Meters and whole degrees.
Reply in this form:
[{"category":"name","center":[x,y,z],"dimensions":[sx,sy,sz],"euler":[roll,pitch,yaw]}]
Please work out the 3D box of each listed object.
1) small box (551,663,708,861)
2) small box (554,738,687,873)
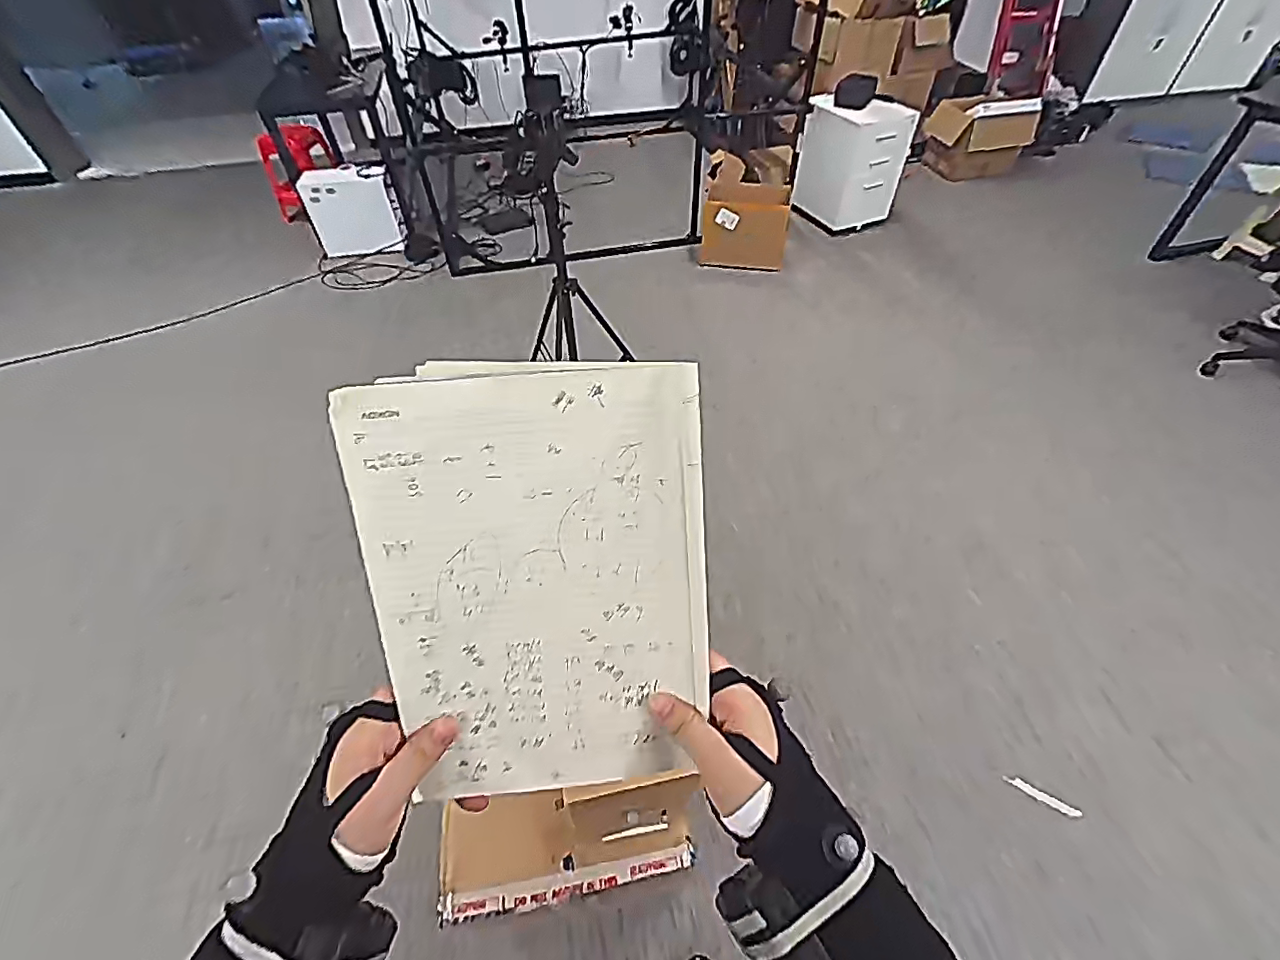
[{"category":"small box","center":[-0.022,0.367,0.705],"dimensions":[0.168,0.176,0.179],"euler":[-8,51,-9]},{"category":"small box","center":[-0.028,0.476,0.829],"dimensions":[0.179,0.176,0.168],"euler":[-11,50,-10]}]
